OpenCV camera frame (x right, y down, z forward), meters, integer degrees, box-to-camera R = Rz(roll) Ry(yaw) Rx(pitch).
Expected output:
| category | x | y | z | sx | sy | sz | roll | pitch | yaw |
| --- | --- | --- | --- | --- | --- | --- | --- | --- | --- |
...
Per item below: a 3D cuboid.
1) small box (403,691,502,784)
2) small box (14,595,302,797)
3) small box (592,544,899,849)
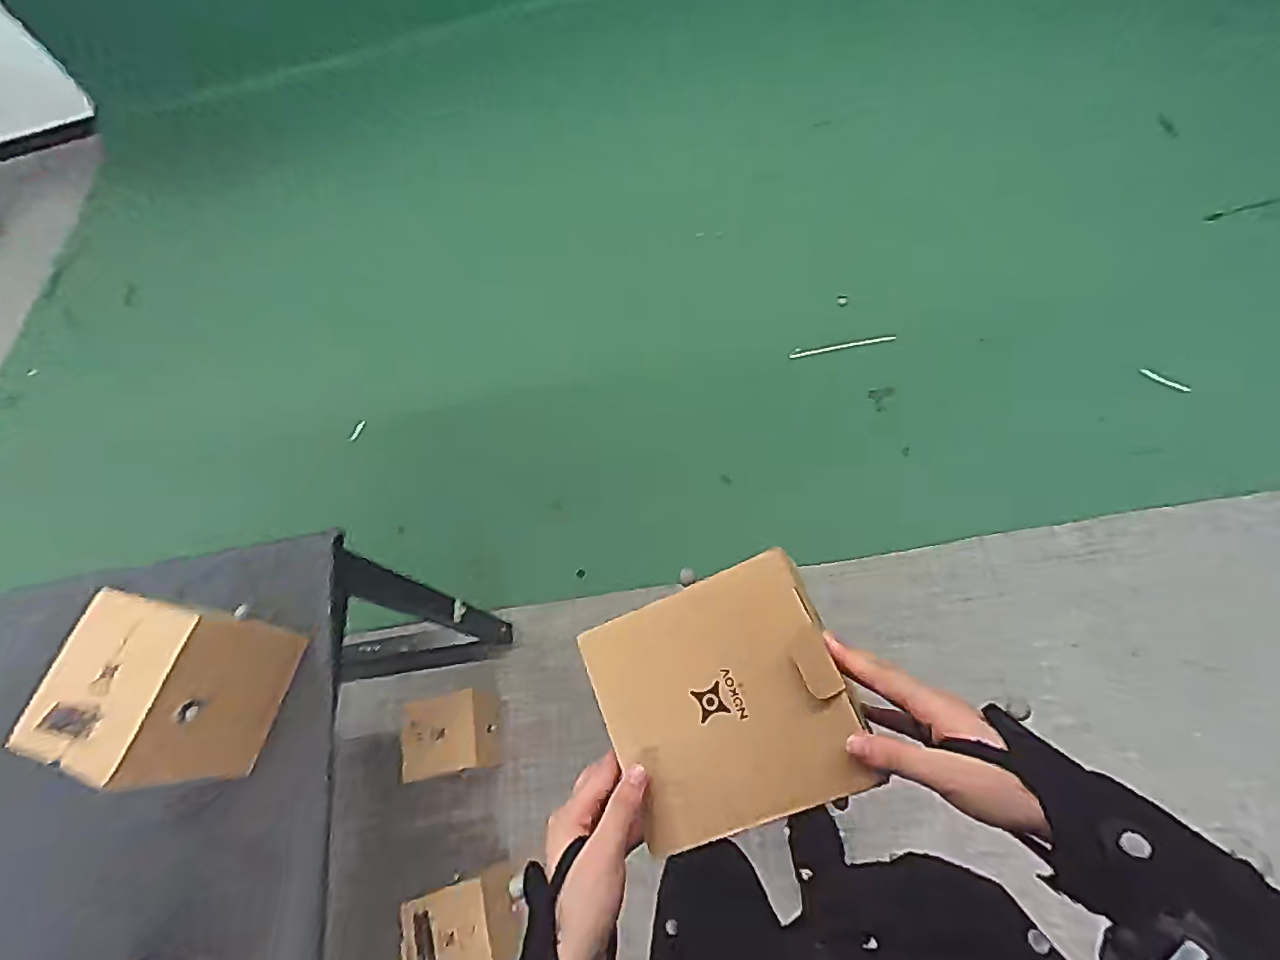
| category | x | y | z | sx | sy | sz | roll | pitch | yaw |
| --- | --- | --- | --- | --- | --- | --- | --- | --- | --- |
| small box | -0.440 | 0.611 | 1.290 | 0.179 | 0.176 | 0.168 | -15 | 63 | 3 |
| small box | -0.562 | 0.257 | 0.659 | 0.168 | 0.176 | 0.179 | 8 | 69 | 16 |
| small box | 0.089 | 0.170 | 0.461 | 0.179 | 0.176 | 0.168 | -26 | 72 | 11 |
